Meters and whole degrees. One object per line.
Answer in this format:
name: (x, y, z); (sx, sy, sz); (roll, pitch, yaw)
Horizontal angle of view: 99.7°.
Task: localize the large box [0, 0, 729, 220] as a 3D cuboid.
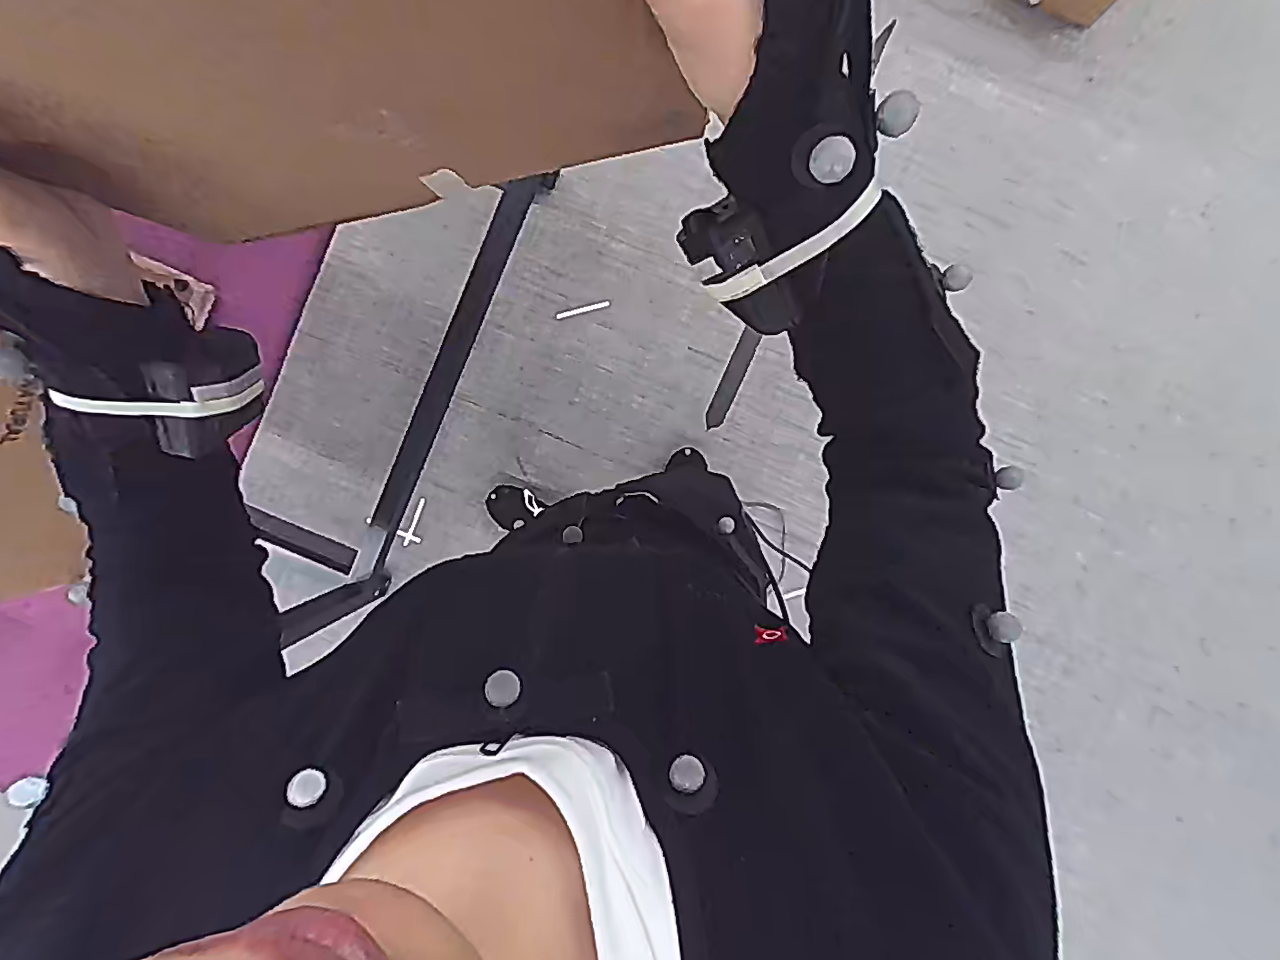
large box: (-0.150, -0.356, 0.152); (0.320, 0.320, 0.408); (-11, 99, 5)
